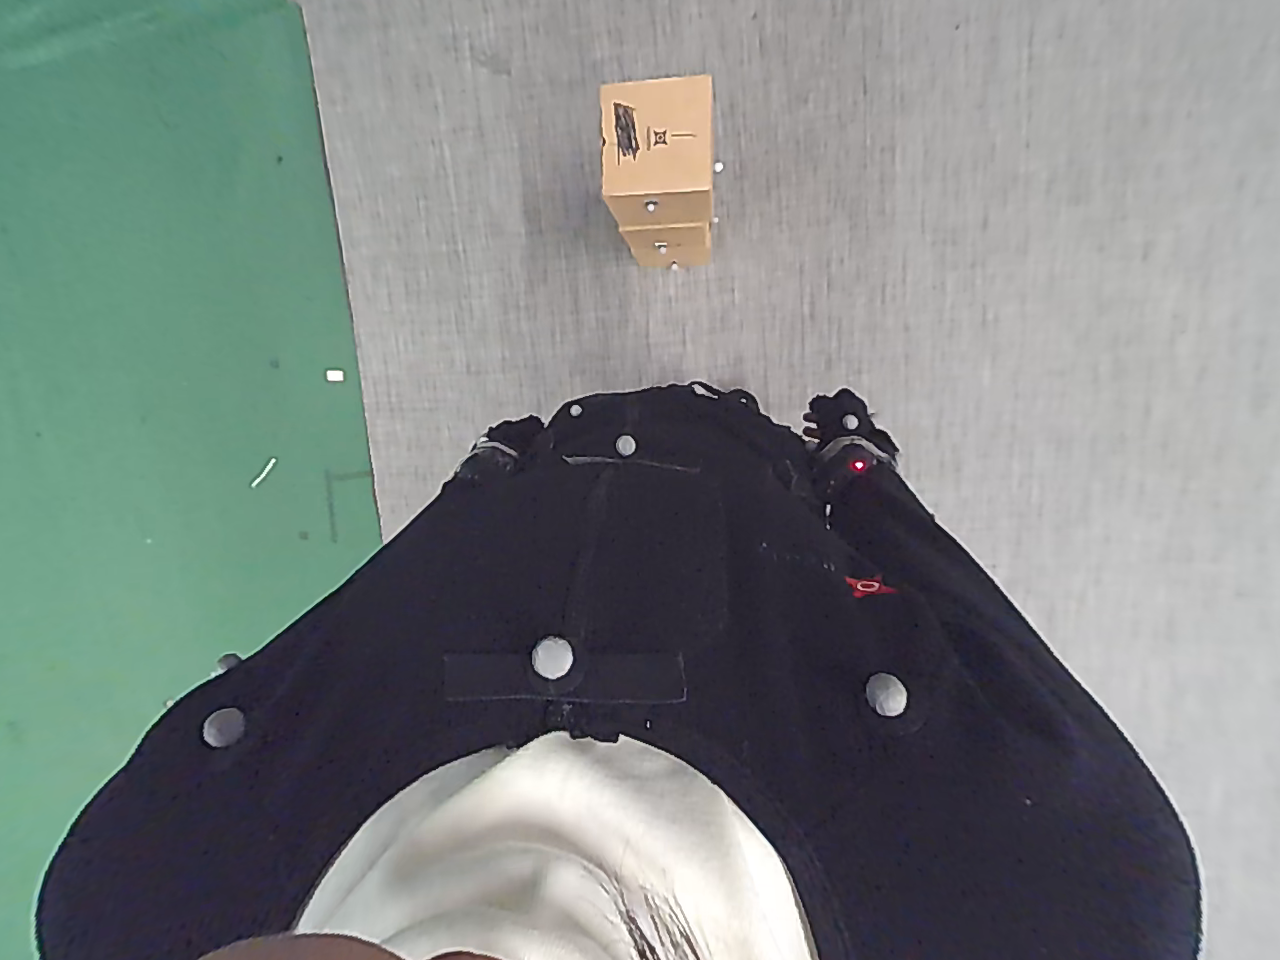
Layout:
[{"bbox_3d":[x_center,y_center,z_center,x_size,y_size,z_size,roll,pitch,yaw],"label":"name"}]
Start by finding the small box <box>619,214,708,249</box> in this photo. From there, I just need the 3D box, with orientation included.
[{"bbox_3d":[0.052,-0.580,1.087,0.168,0.176,0.179,0,101,9],"label":"small box"}]

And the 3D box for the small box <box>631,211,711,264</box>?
[{"bbox_3d":[0.075,-0.602,1.246,0.179,0.176,0.168,1,100,7],"label":"small box"}]

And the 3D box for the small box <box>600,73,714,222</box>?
[{"bbox_3d":[0.035,-0.553,0.925,0.179,0.176,0.168,1,100,8],"label":"small box"}]
